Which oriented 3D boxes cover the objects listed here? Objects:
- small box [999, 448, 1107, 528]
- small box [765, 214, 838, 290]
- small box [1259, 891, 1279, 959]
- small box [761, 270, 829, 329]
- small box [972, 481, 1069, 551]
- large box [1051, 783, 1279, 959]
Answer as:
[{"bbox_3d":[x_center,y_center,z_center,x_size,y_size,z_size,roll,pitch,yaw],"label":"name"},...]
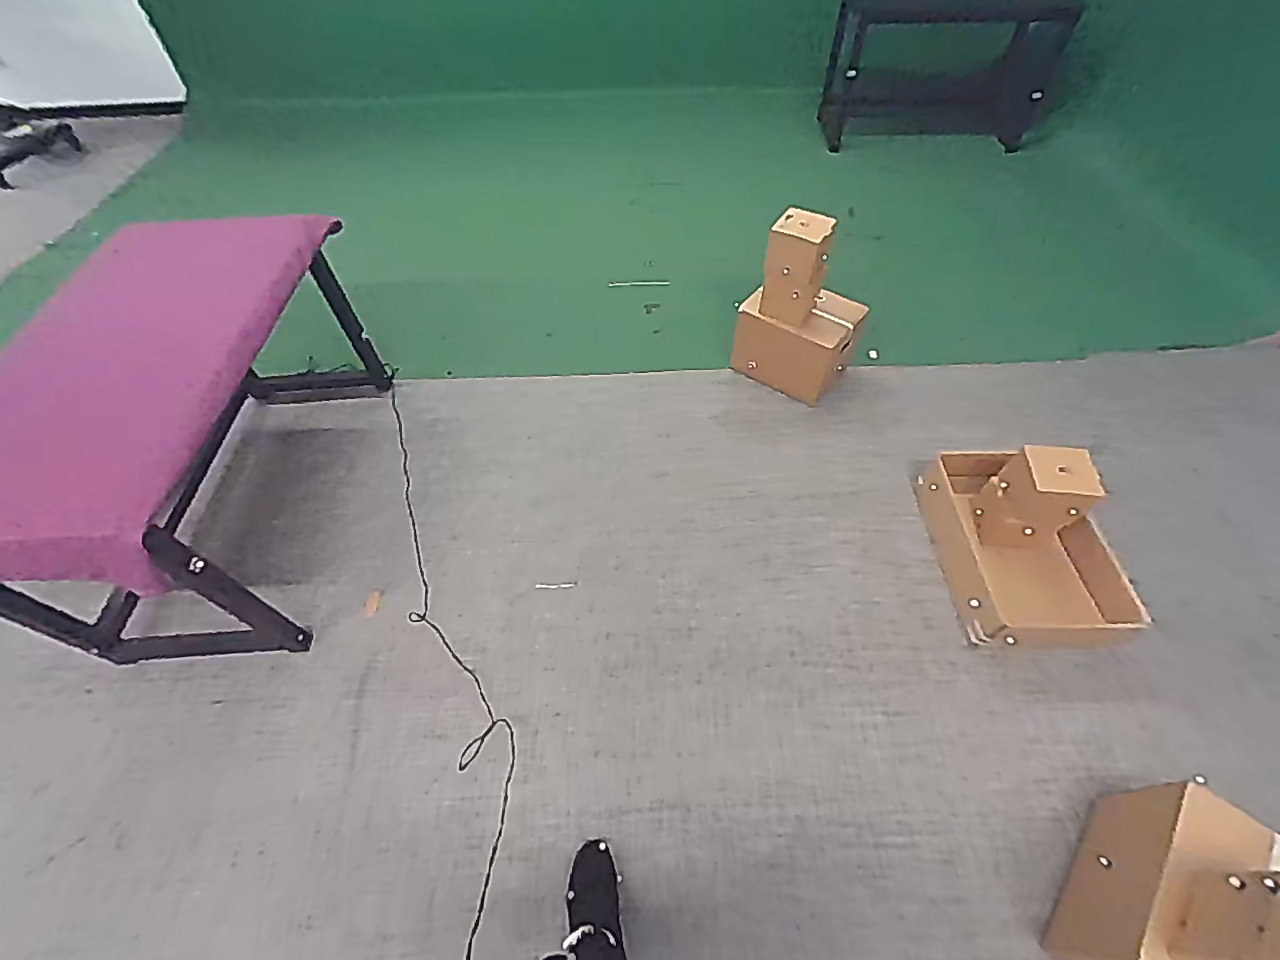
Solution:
[{"bbox_3d":[1.205,0.028,1.592,0.179,0.176,0.168,5,56,7],"label":"small box"},{"bbox_3d":[0.563,-0.796,1.898,0.179,0.176,0.168,28,59,19],"label":"small box"},{"bbox_3d":[1.052,0.703,0.759,0.179,0.176,0.168,37,62,25],"label":"small box"},{"bbox_3d":[0.576,-0.694,2.026,0.179,0.176,0.168,27,58,19],"label":"small box"},{"bbox_3d":[1.206,0.119,1.728,0.179,0.176,0.168,2,56,5],"label":"small box"},{"bbox_3d":[1.138,0.926,1.102,0.320,0.320,0.408,36,61,24],"label":"large box"}]
